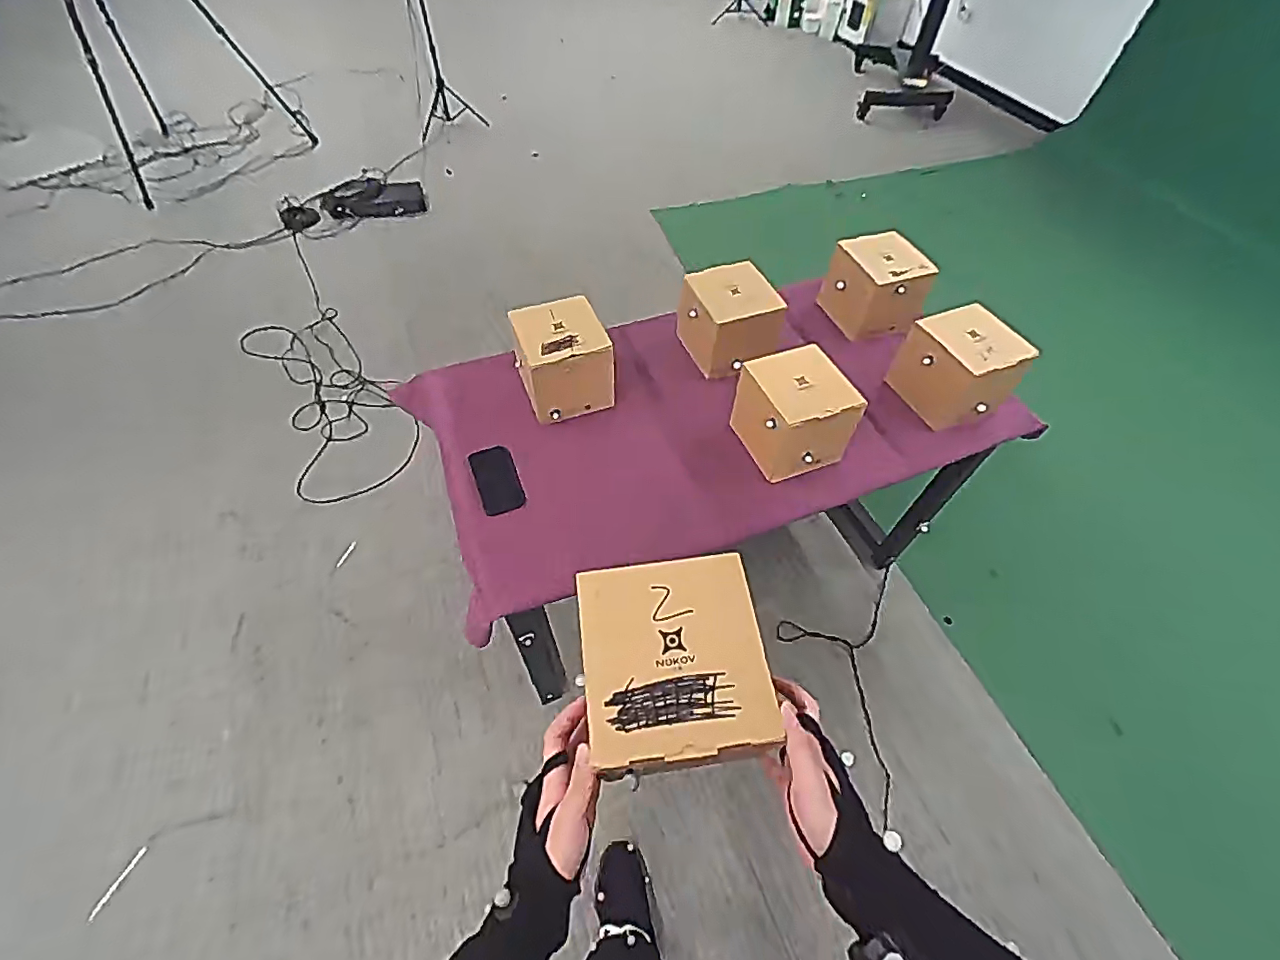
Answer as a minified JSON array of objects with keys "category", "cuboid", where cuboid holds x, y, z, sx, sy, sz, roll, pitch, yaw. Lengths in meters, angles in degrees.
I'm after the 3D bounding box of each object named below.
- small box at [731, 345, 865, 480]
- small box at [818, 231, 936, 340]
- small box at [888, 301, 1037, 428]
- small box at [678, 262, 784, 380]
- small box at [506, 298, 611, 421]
[{"category":"small box","cuboid":[0.294,-0.130,1.055,0.168,0.176,0.179,-18,56,-14]},{"category":"small box","cuboid":[0.557,-0.466,1.300,0.168,0.176,0.179,-17,56,-12]},{"category":"small box","cuboid":[0.662,-0.241,1.136,0.168,0.176,0.179,-19,57,-12]},{"category":"small box","cuboid":[0.192,-0.354,1.214,0.168,0.176,0.179,-17,58,-12]},{"category":"small box","cuboid":[-0.164,-0.242,1.123,0.168,0.176,0.179,-18,57,-14]}]
